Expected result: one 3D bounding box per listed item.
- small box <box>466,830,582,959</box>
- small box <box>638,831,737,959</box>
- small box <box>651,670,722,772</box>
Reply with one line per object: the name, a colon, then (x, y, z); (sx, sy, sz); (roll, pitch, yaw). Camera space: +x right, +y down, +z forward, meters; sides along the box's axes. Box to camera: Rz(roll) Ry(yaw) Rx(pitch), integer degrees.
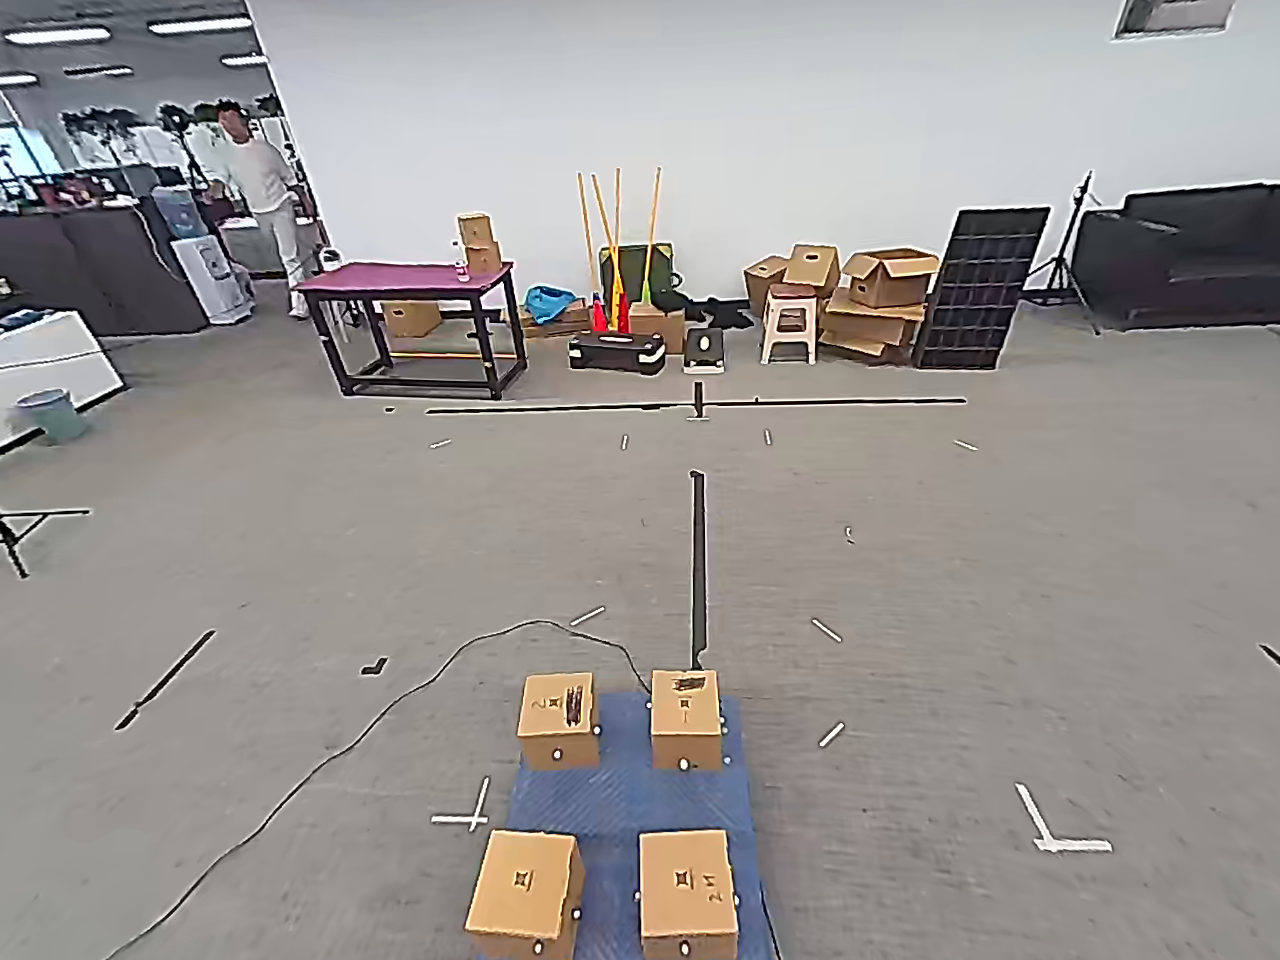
small box: (-0.220, 0.828, 1.076); (0.179, 0.176, 0.168); (1, 34, 5)
small box: (0.090, 0.818, 1.061); (0.179, 0.176, 0.168); (-3, 35, 1)
small box: (0.115, 0.605, 1.366); (0.168, 0.176, 0.179); (-1, 36, 4)
